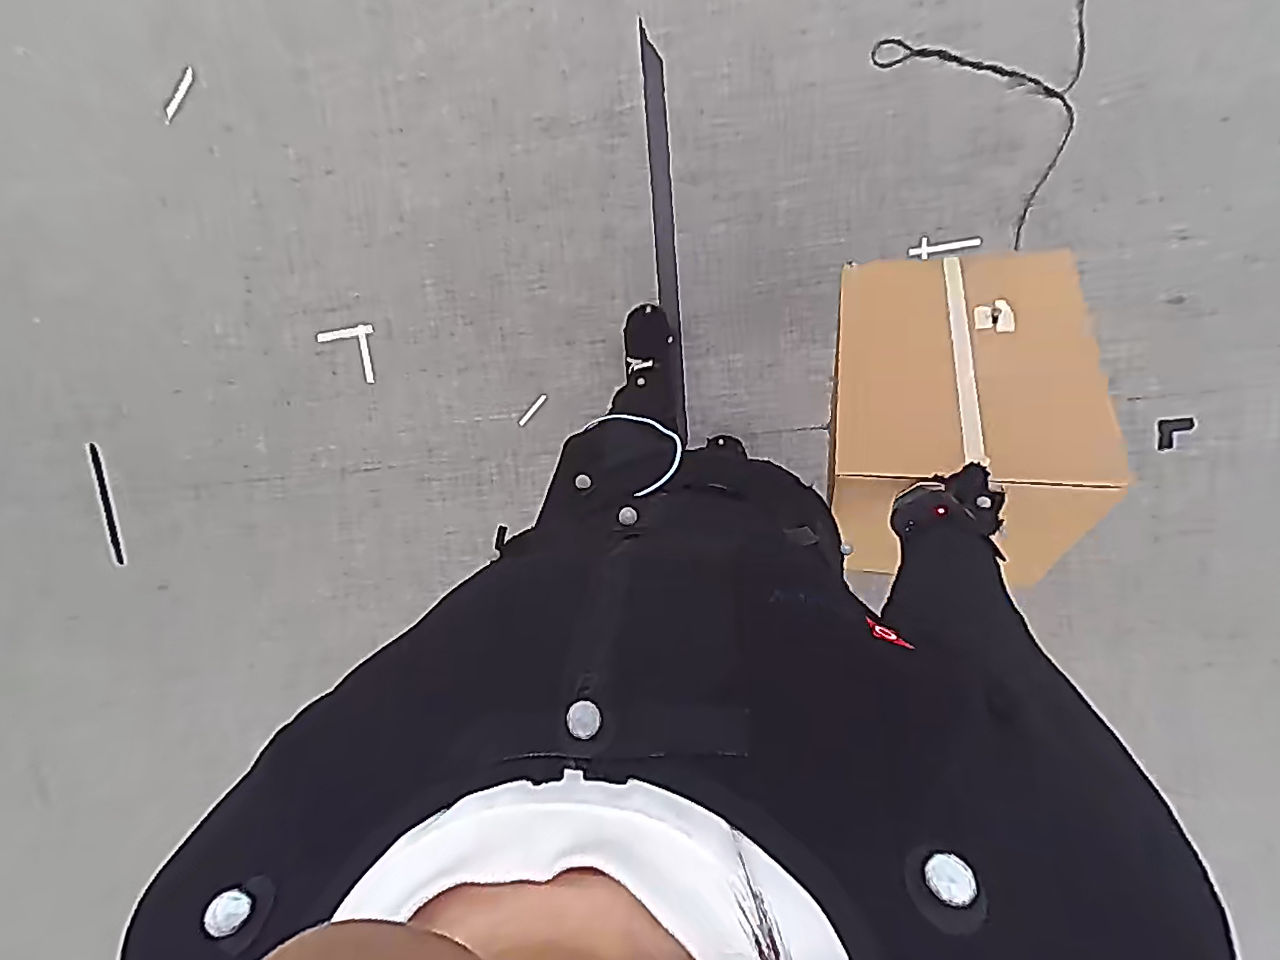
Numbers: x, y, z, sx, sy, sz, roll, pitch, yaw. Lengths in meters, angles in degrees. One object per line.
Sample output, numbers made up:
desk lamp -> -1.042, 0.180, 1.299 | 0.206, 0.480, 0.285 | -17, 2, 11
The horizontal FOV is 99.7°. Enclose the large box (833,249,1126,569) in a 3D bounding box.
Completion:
large box -> 0.480, -0.101, 0.875 | 0.320, 0.320, 0.408 | 3, 60, 17
